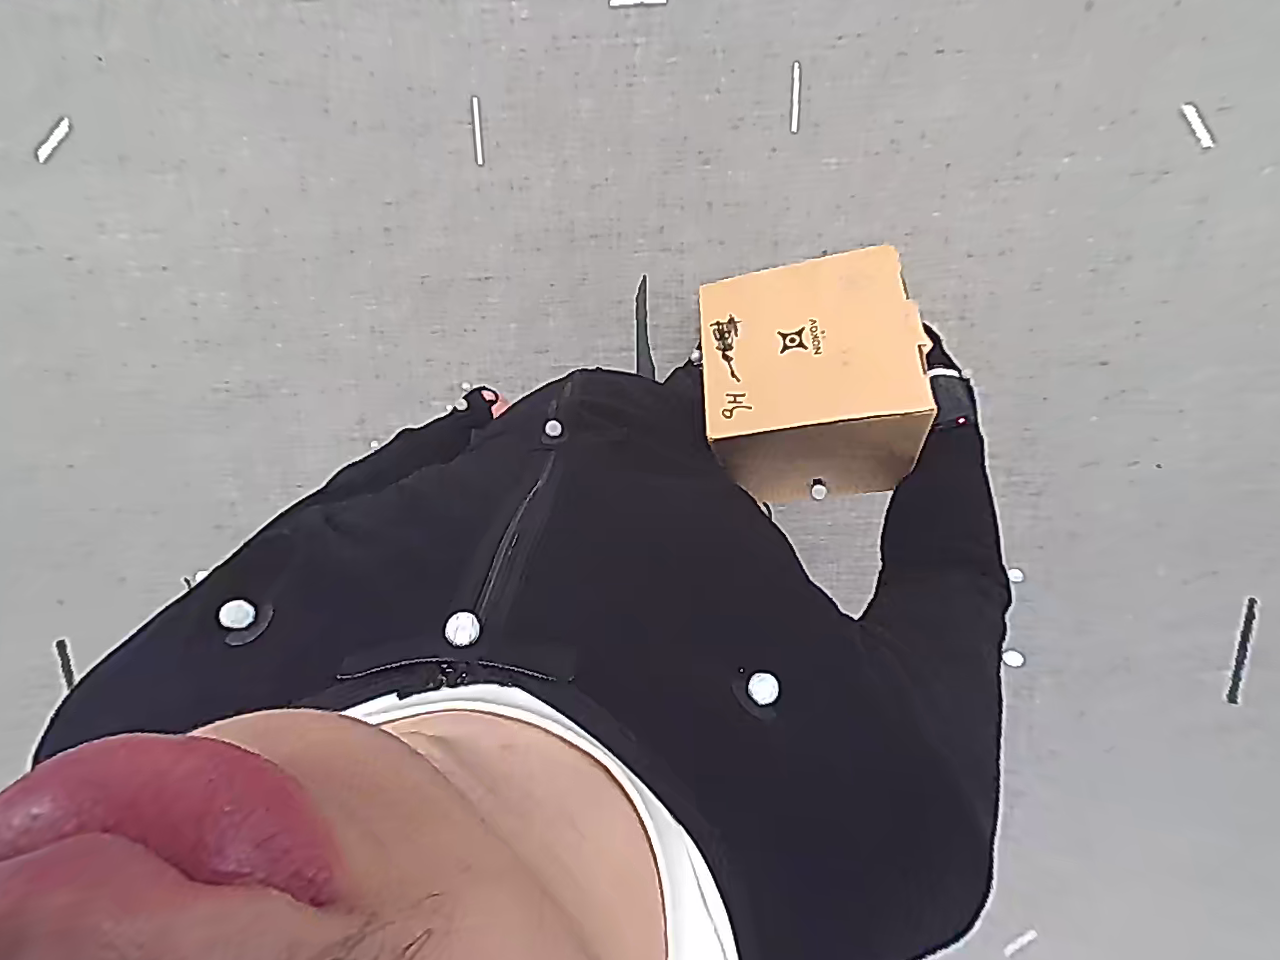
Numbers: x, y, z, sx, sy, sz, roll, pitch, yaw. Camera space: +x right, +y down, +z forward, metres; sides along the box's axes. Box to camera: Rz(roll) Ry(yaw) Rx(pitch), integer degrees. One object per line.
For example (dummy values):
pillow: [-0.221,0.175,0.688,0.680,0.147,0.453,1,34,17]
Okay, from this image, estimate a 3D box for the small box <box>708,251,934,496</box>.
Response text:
small box: [0.169,-0.092,0.543,0.179,0.176,0.168,-6,66,15]
